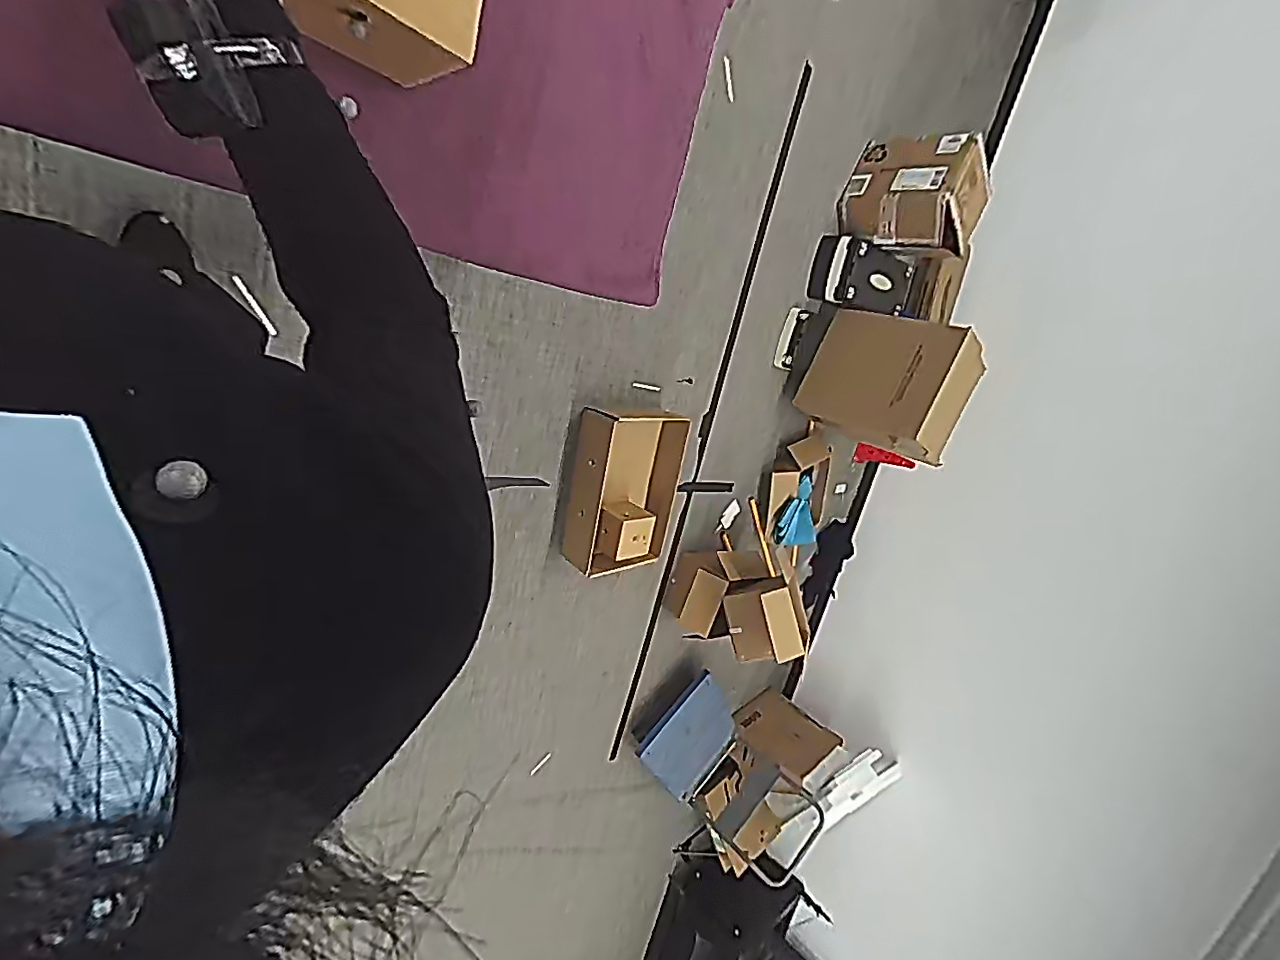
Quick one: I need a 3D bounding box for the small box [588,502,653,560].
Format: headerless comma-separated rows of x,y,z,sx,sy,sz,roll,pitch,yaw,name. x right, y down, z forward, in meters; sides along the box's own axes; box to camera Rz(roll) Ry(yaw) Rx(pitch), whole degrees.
-0.080,0.194,2.109,0.179,0.176,0.168,-5,114,-45,small box

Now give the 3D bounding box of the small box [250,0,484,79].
-0.262,-0.521,0.519,0.179,0.176,0.168,1,109,-45,small box
